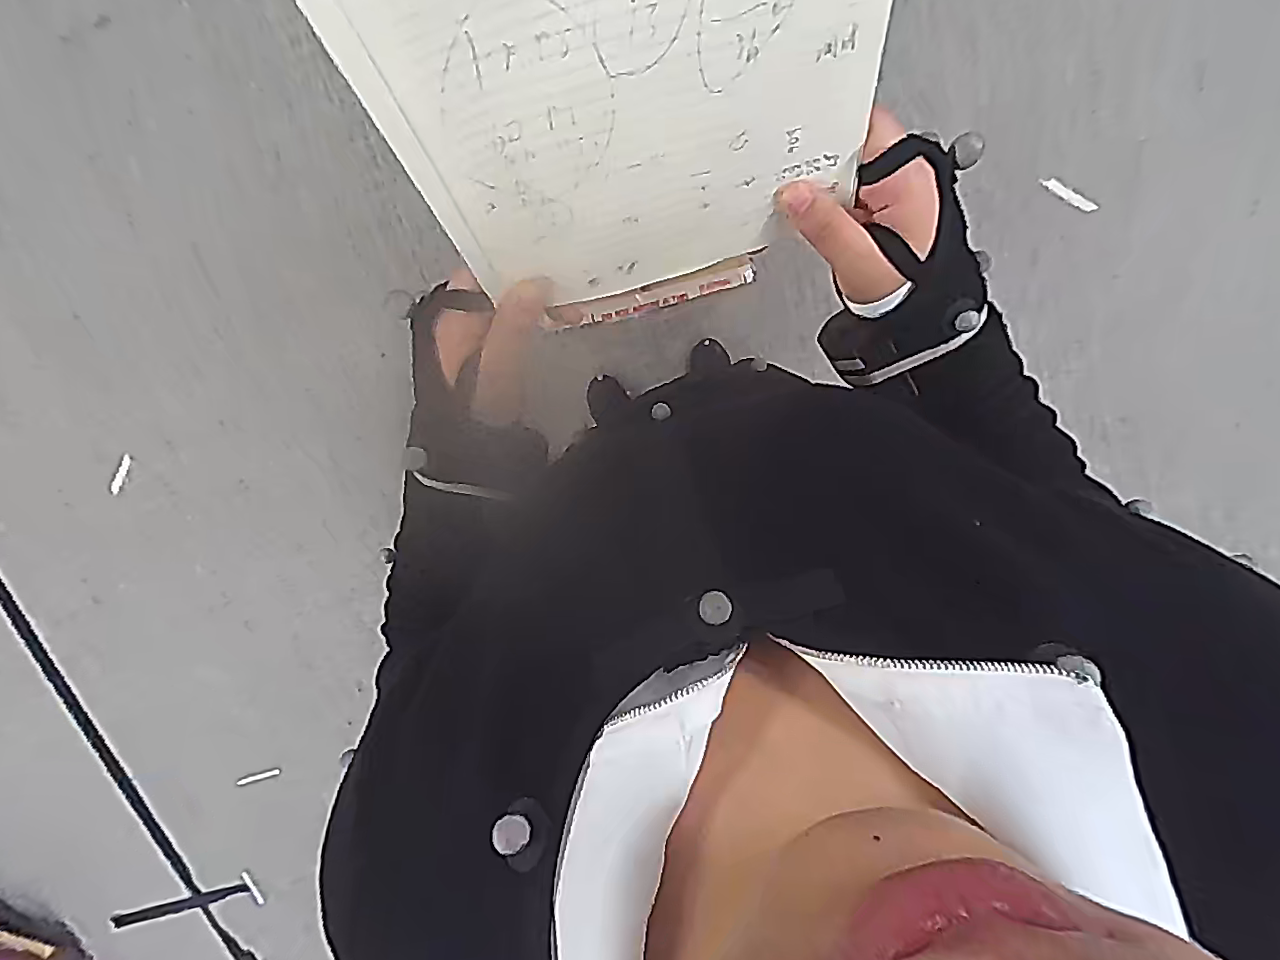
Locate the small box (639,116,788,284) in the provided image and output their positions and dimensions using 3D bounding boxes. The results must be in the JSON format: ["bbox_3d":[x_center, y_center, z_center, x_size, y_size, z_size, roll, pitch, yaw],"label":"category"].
[{"bbox_3d":[0.106,-0.421,0.843,0.179,0.176,0.168,-19,103,3],"label":"small box"}]

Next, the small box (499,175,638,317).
[{"bbox_3d":[-0.102,-0.358,0.856,0.179,0.176,0.168,-10,105,4],"label":"small box"}]
